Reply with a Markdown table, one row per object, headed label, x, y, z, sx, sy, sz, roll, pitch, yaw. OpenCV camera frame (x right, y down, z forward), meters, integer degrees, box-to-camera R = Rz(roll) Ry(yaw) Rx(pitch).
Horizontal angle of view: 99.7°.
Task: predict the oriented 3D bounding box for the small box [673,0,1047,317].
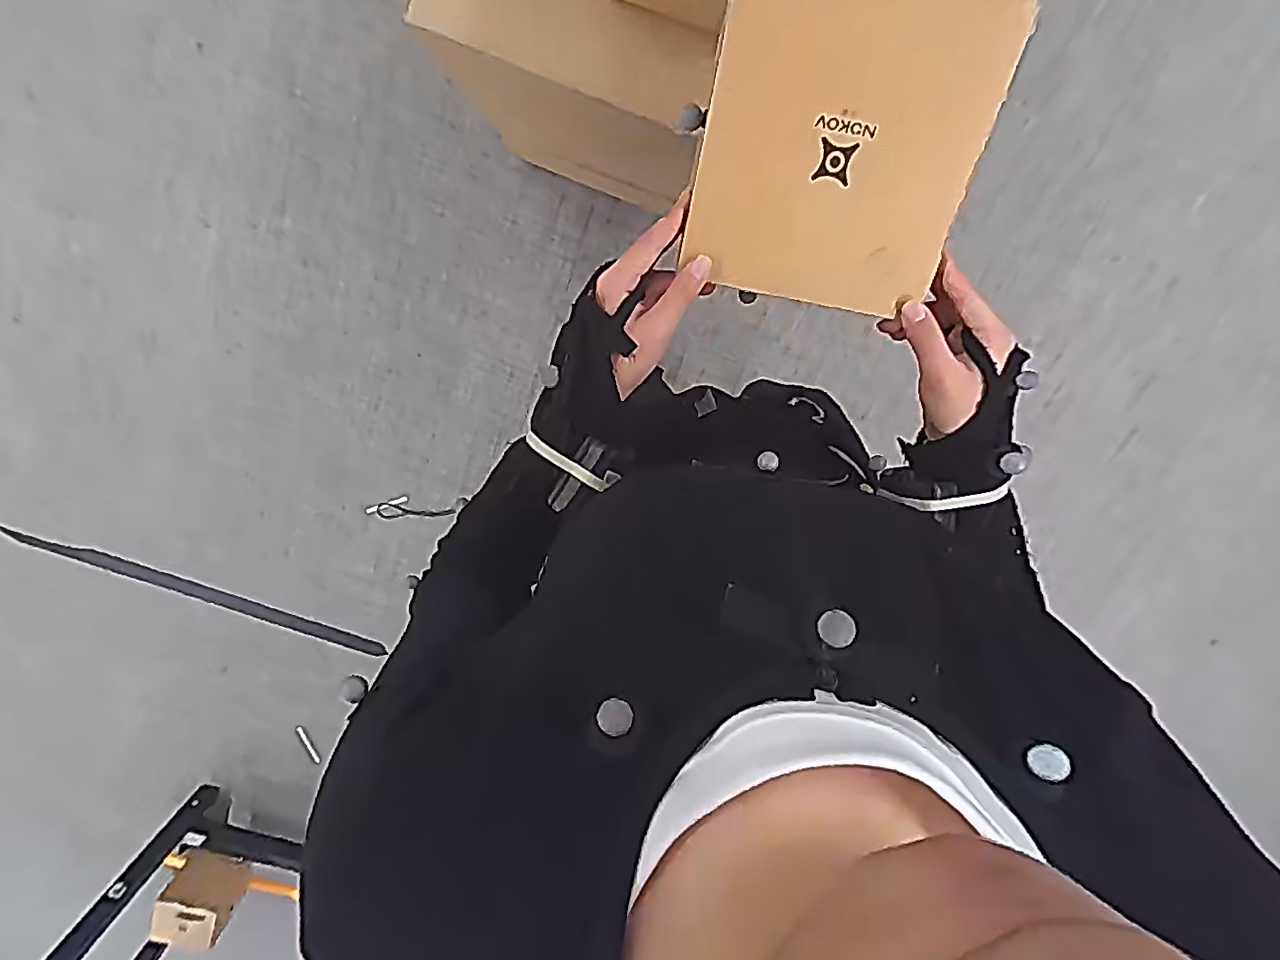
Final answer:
| label | x | y | z | sx | sy | sz | roll | pitch | yaw |
| --- | --- | --- | --- | --- | --- | --- | --- | --- | --- |
| small box | 0.124 | -0.231 | 0.385 | 0.168 | 0.176 | 0.179 | 11 | 115 | 0 |

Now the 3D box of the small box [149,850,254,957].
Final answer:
| label | x | y | z | sx | sy | sz | roll | pitch | yaw |
| --- | --- | --- | --- | --- | --- | --- | --- | --- | --- |
| small box | -1.263 | 1.220 | 1.568 | 0.168 | 0.176 | 0.179 | 21 | 107 | -8 |

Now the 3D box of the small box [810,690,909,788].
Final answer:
| label | x | y | z | sx | sy | sz | roll | pitch | yaw |
| --- | --- | --- | --- | --- | --- | --- | --- | --- | --- |
| small box | 0.614 | 0.728 | 1.535 | 0.179 | 0.176 | 0.168 | 18 | 106 | -6 |
